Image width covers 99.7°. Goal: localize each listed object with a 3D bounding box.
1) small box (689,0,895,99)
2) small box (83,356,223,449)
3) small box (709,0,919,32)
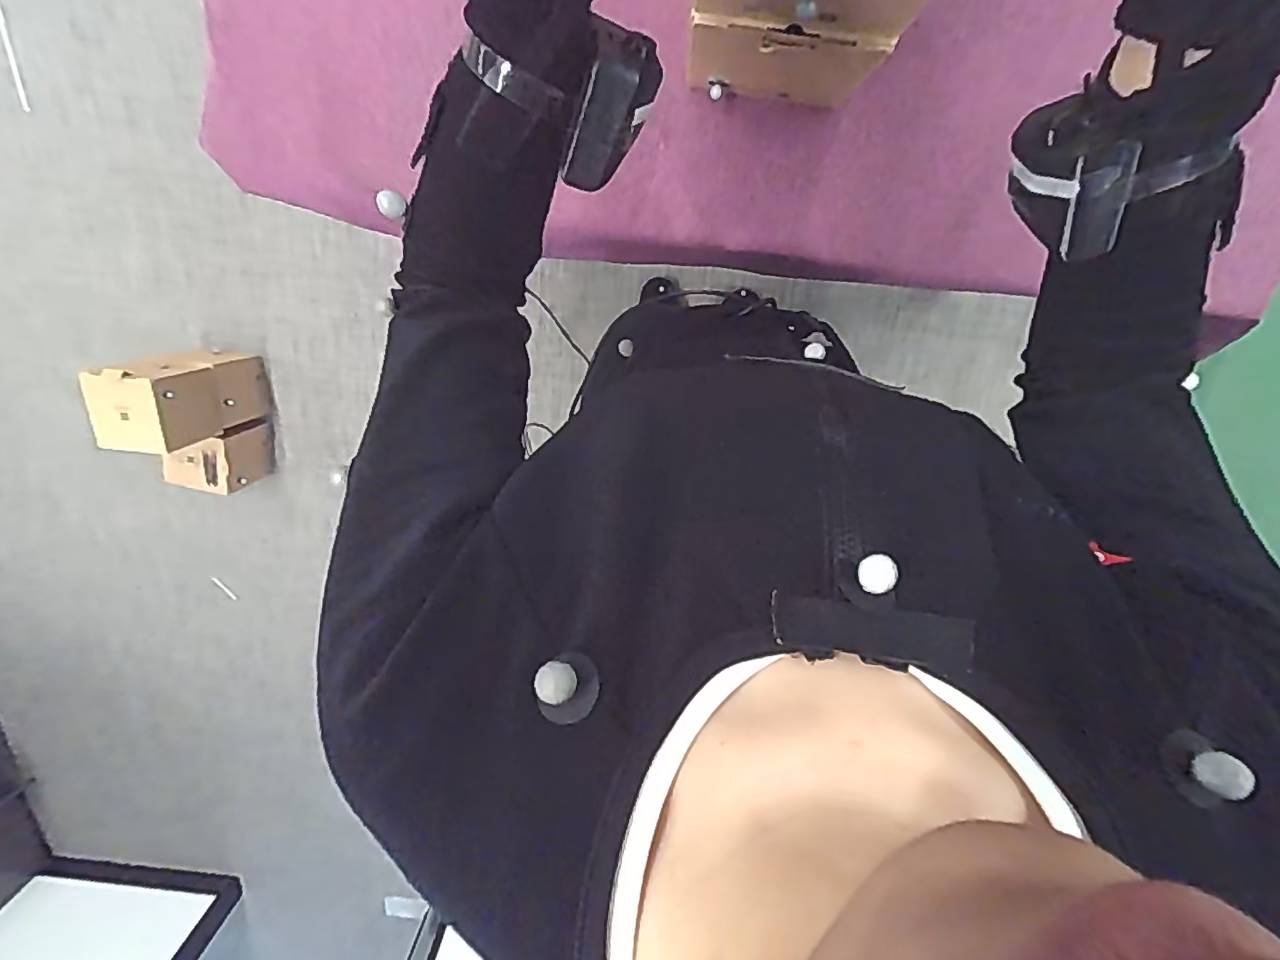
[{"bbox_3d":[0.139,-0.467,0.477,0.168,0.176,0.179,9,111,0],"label":"small box"},{"bbox_3d":[-1.135,-0.187,1.279,0.168,0.176,0.179,6,111,2],"label":"small box"},{"bbox_3d":[0.128,-0.416,0.322,0.168,0.176,0.179,9,112,1],"label":"small box"}]
